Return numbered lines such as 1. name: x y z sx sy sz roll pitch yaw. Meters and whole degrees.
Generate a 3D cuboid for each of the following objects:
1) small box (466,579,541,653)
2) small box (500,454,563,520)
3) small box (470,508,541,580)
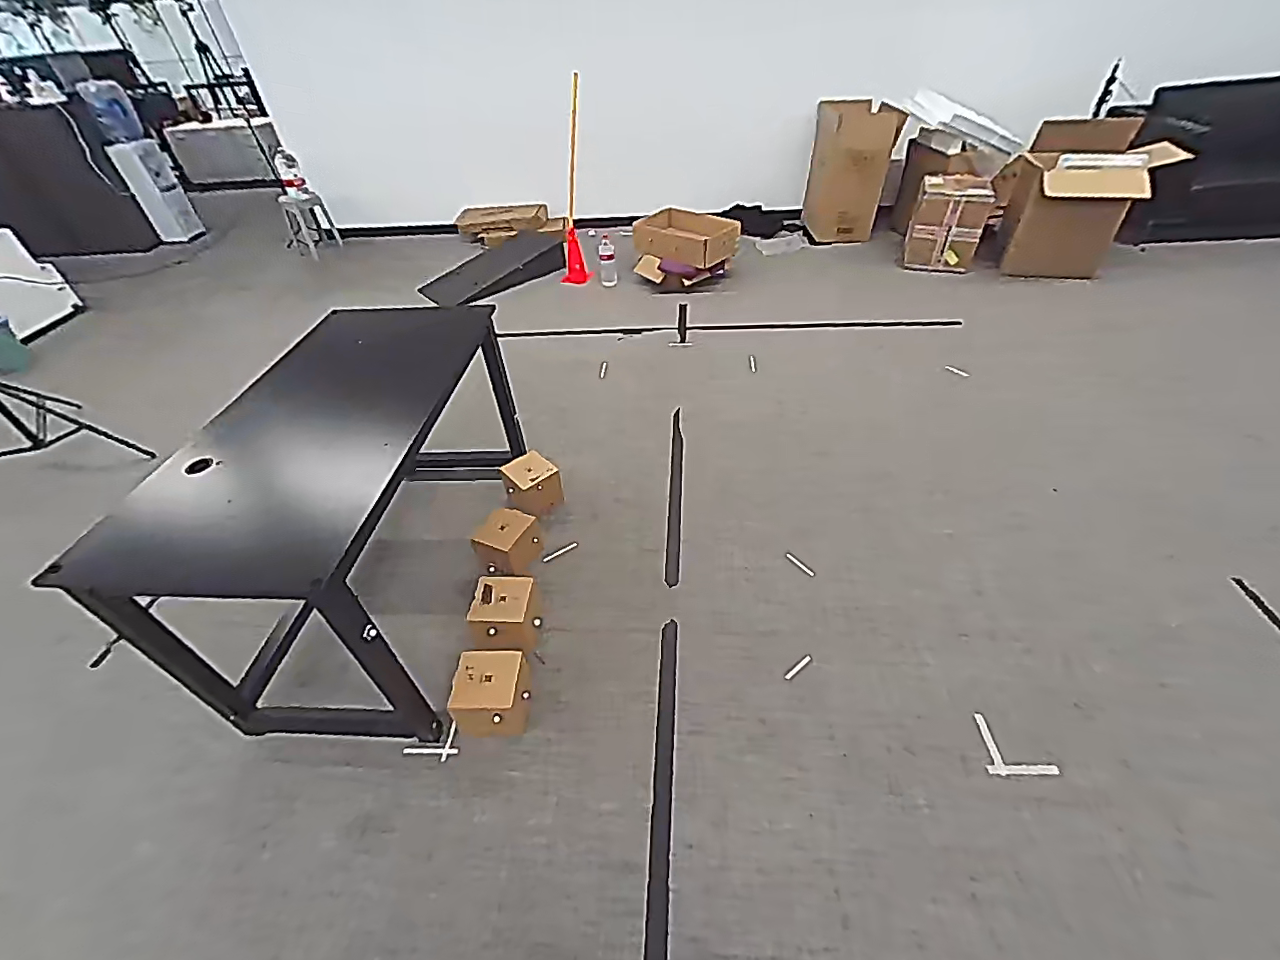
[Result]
1. small box: -0.425 0.432 1.712 0.179 0.176 0.168 0 43 3
2. small box: -0.431 0.030 2.154 0.168 0.176 0.179 -34 50 -28
3. small box: -0.472 0.235 1.936 0.168 0.176 0.179 14 46 21
